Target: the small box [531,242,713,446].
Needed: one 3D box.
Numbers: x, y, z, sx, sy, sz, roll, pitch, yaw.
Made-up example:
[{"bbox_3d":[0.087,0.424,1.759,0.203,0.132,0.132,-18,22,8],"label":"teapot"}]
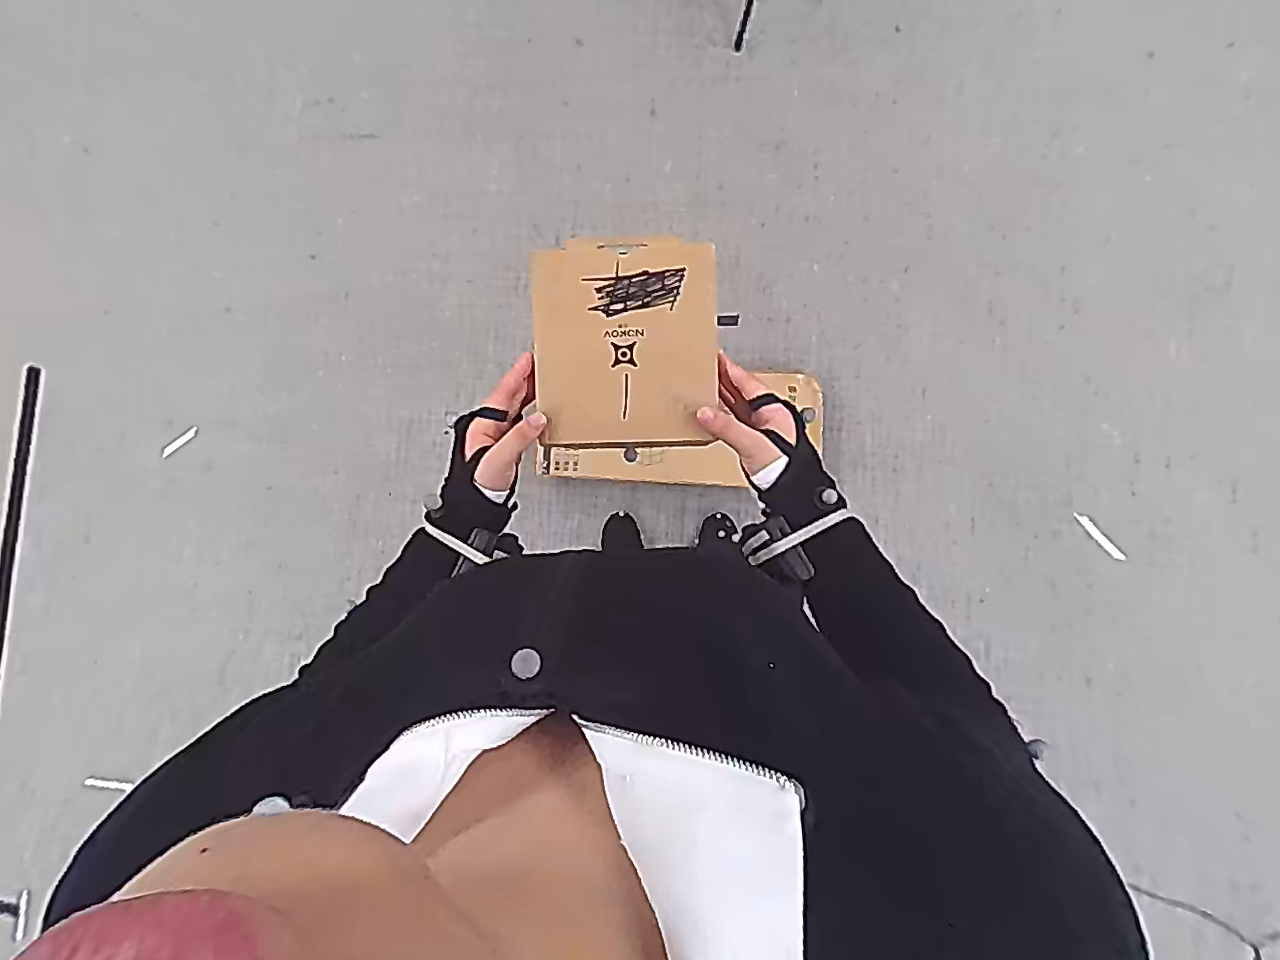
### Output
[{"bbox_3d":[-0.013,-0.127,0.564,0.168,0.176,0.179,-1,93,3],"label":"small box"}]
